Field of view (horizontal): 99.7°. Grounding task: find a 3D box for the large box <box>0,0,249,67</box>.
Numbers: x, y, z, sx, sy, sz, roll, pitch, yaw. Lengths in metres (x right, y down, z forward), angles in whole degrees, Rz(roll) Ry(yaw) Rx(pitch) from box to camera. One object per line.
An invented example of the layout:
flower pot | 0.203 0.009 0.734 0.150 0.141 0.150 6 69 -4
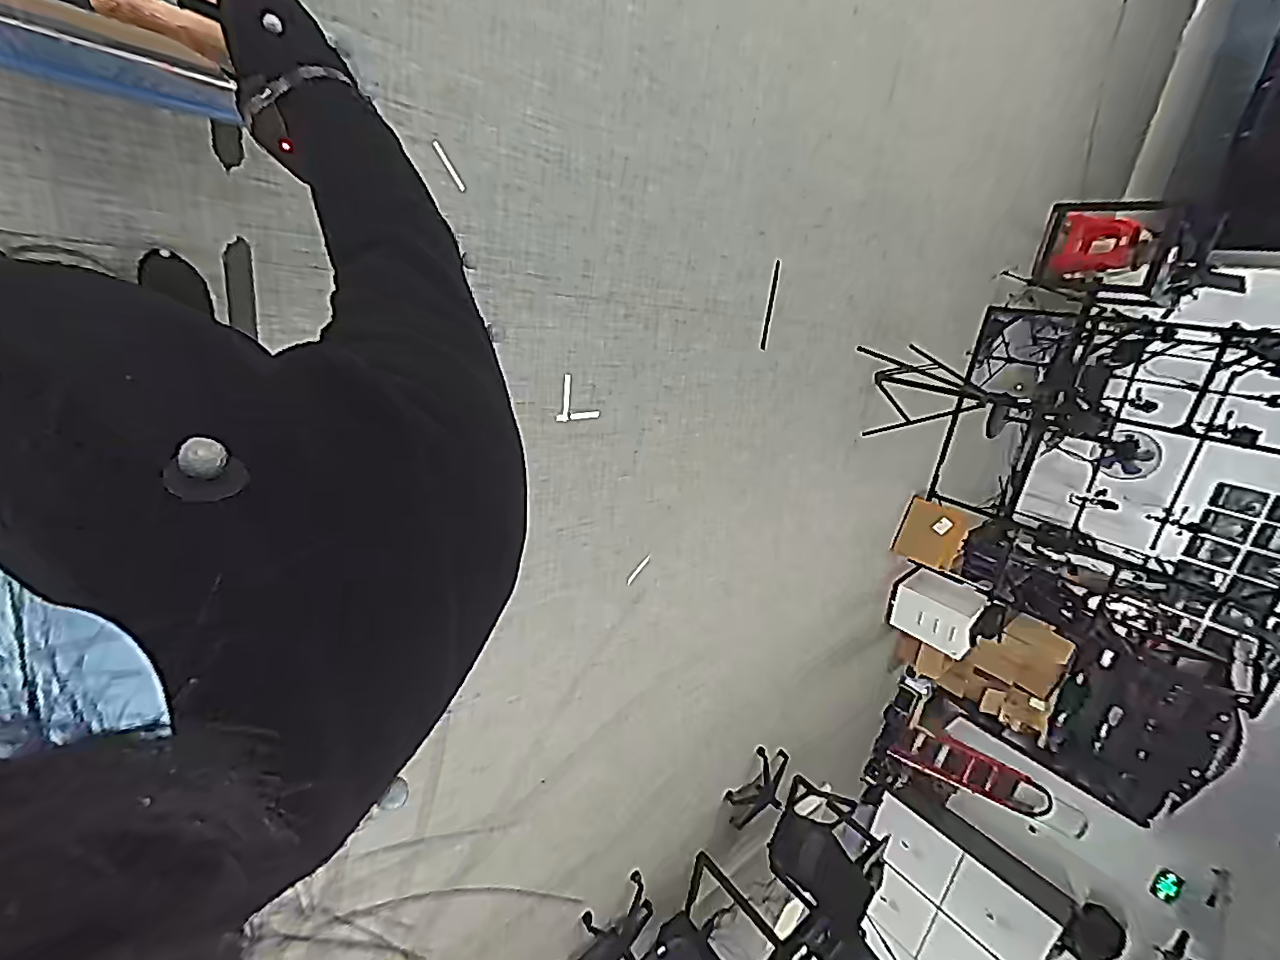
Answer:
large box | -0.752 -0.769 0.648 0.408 0.320 0.320 -9 117 -41
